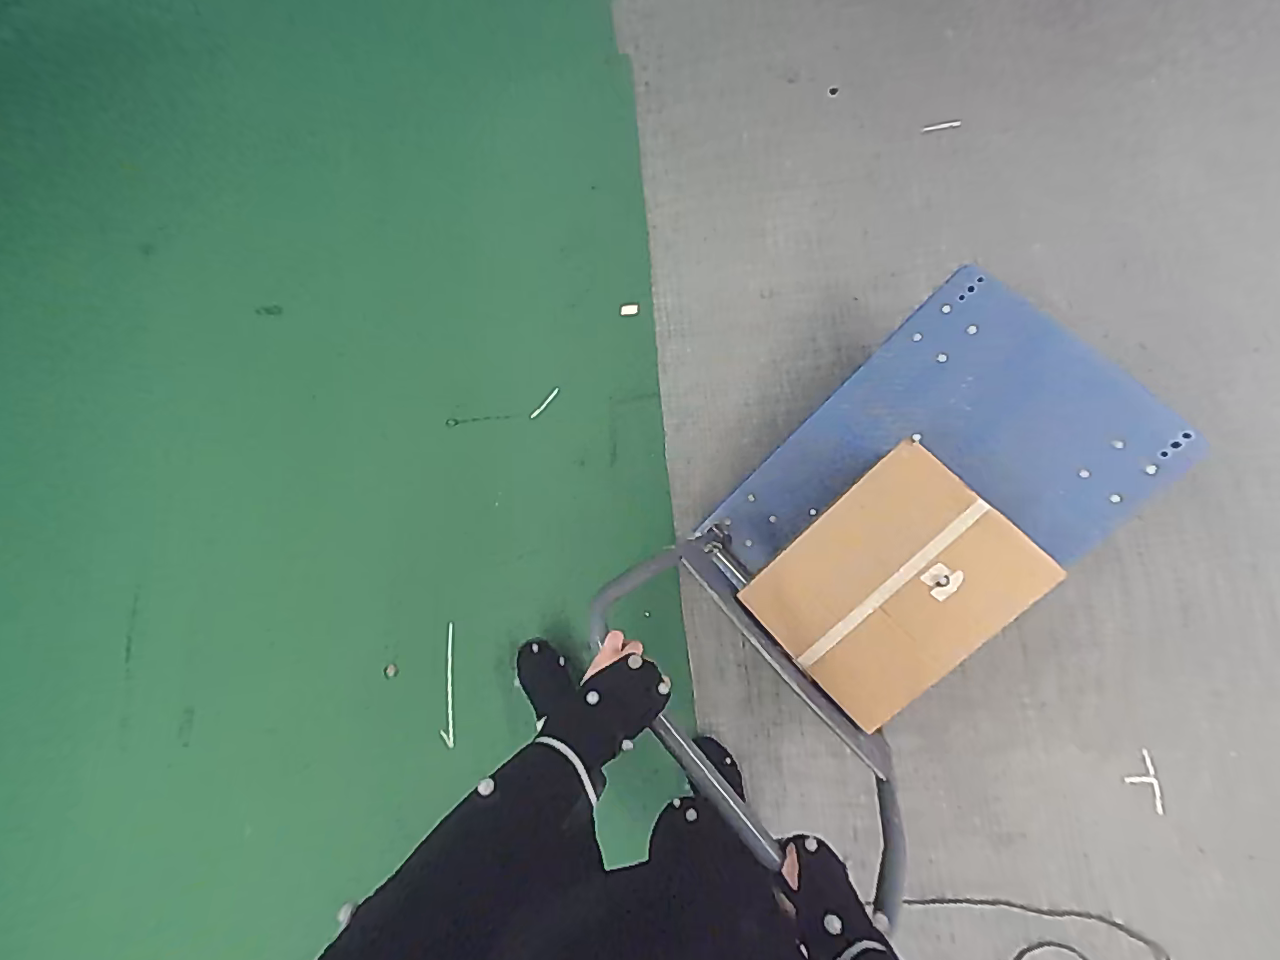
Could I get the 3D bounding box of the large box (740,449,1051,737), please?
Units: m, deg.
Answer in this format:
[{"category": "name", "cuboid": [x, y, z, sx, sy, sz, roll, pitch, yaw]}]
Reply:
[{"category": "large box", "cuboid": [0.459, 0.203, 1.060, 0.408, 0.320, 0.320, -45, 76, 10]}]
